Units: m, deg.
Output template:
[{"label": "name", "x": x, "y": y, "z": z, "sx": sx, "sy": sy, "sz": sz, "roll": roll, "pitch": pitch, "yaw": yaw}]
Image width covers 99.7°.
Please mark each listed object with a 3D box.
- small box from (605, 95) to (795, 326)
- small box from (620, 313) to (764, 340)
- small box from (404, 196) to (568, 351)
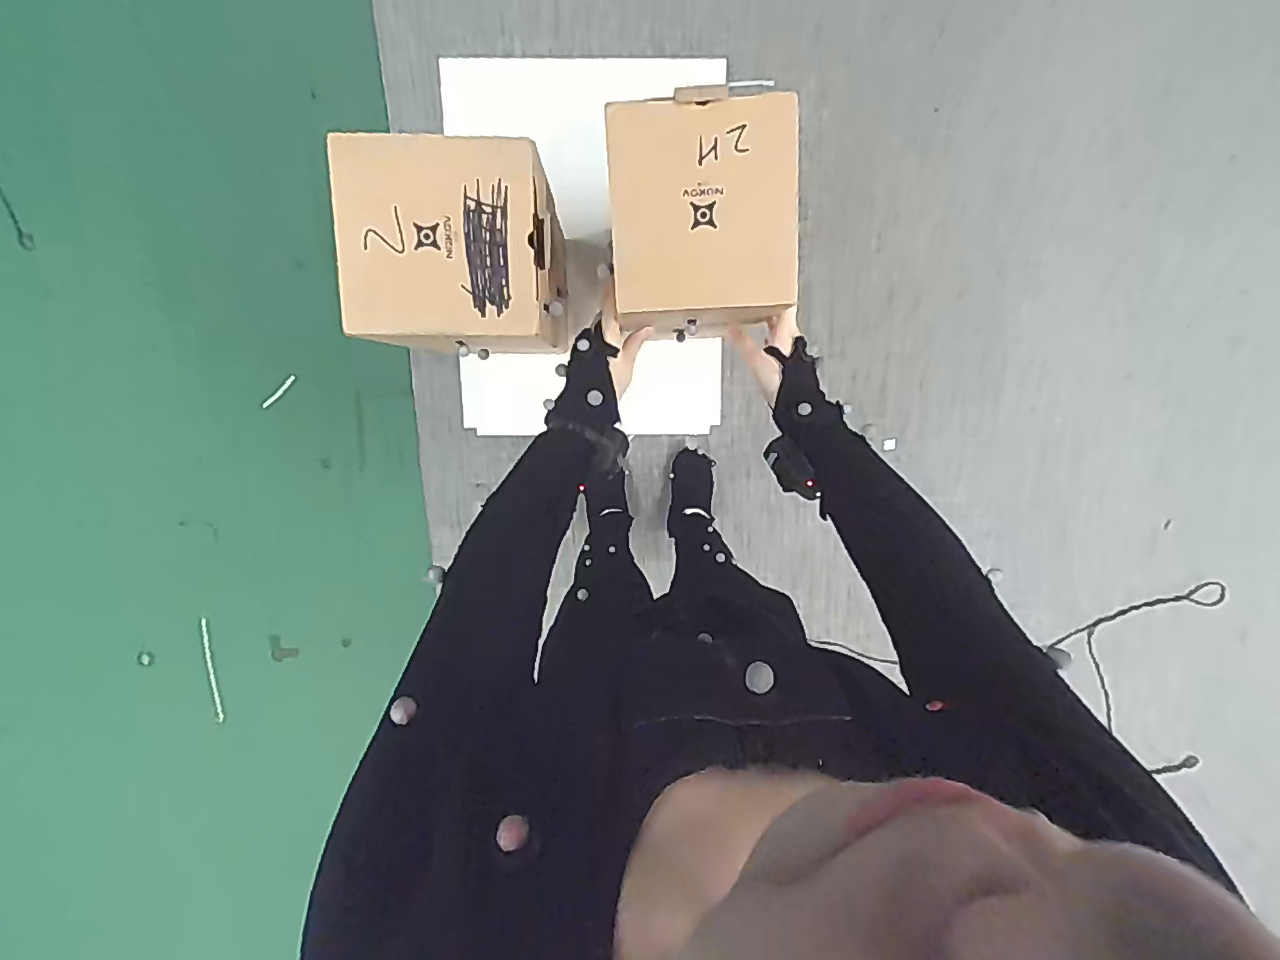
[{"label": "small box", "x": 0.055, "y": -0.255, "z": 0.557, "sx": 0.168, "sy": 0.176, "sz": 0.179, "roll": -3, "pitch": 100, "yaw": 0}, {"label": "small box", "x": 0.059, "y": -0.281, "z": 0.720, "sx": 0.179, "sy": 0.176, "sz": 0.168, "roll": -3, "pitch": 100, "yaw": -1}, {"label": "small box", "x": -0.190, "y": -0.259, "z": 0.716, "sx": 0.179, "sy": 0.176, "sz": 0.168, "roll": -1, "pitch": 100, "yaw": -4}]
